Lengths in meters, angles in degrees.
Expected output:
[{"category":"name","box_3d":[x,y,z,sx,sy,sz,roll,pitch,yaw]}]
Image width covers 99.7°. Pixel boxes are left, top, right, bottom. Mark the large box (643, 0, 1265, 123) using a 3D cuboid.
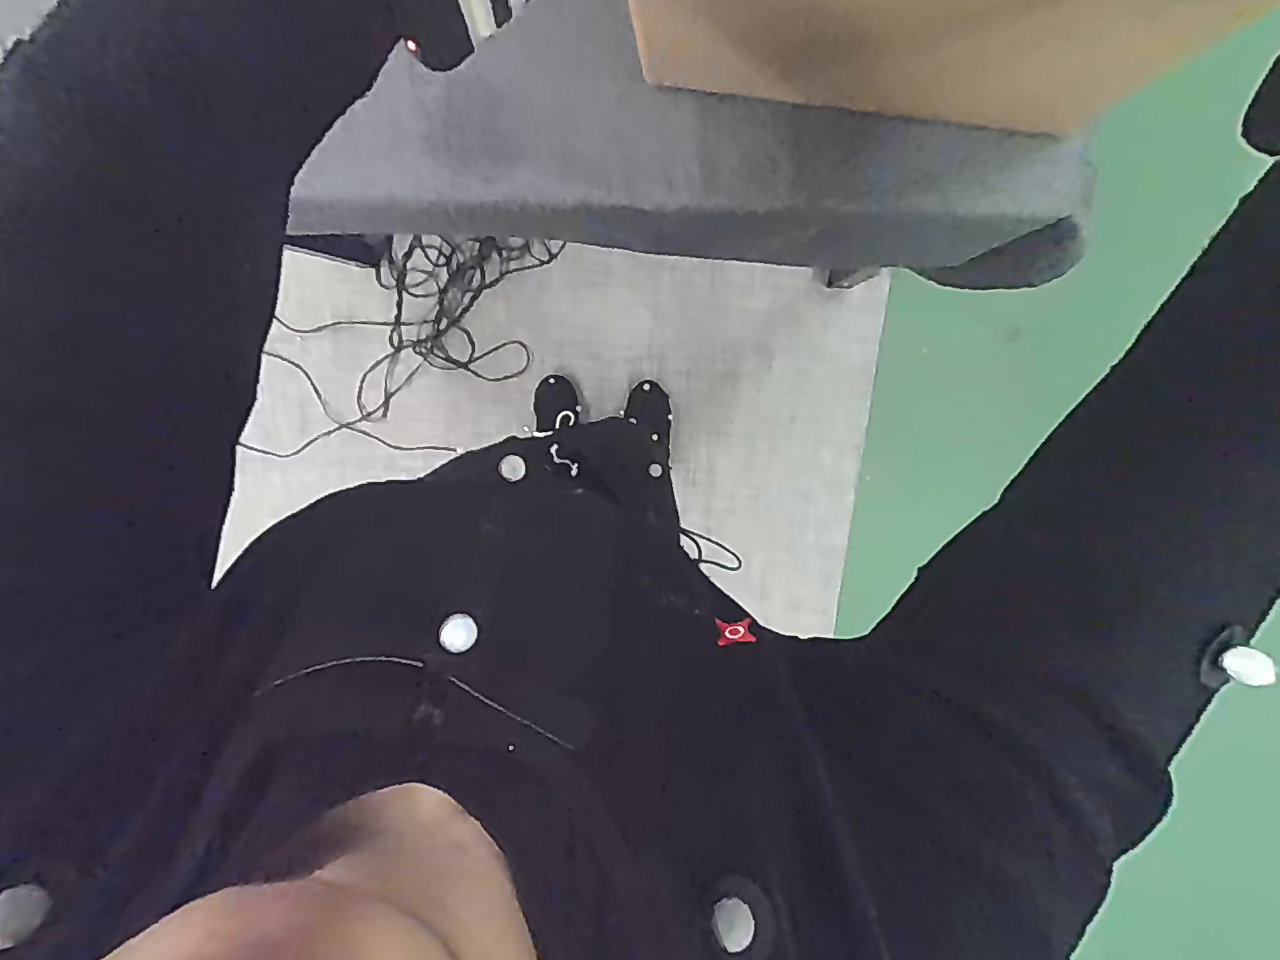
[{"category":"large box","box_3d":[0.211,-0.471,0.332,0.408,0.320,0.320,9,104,3]}]
